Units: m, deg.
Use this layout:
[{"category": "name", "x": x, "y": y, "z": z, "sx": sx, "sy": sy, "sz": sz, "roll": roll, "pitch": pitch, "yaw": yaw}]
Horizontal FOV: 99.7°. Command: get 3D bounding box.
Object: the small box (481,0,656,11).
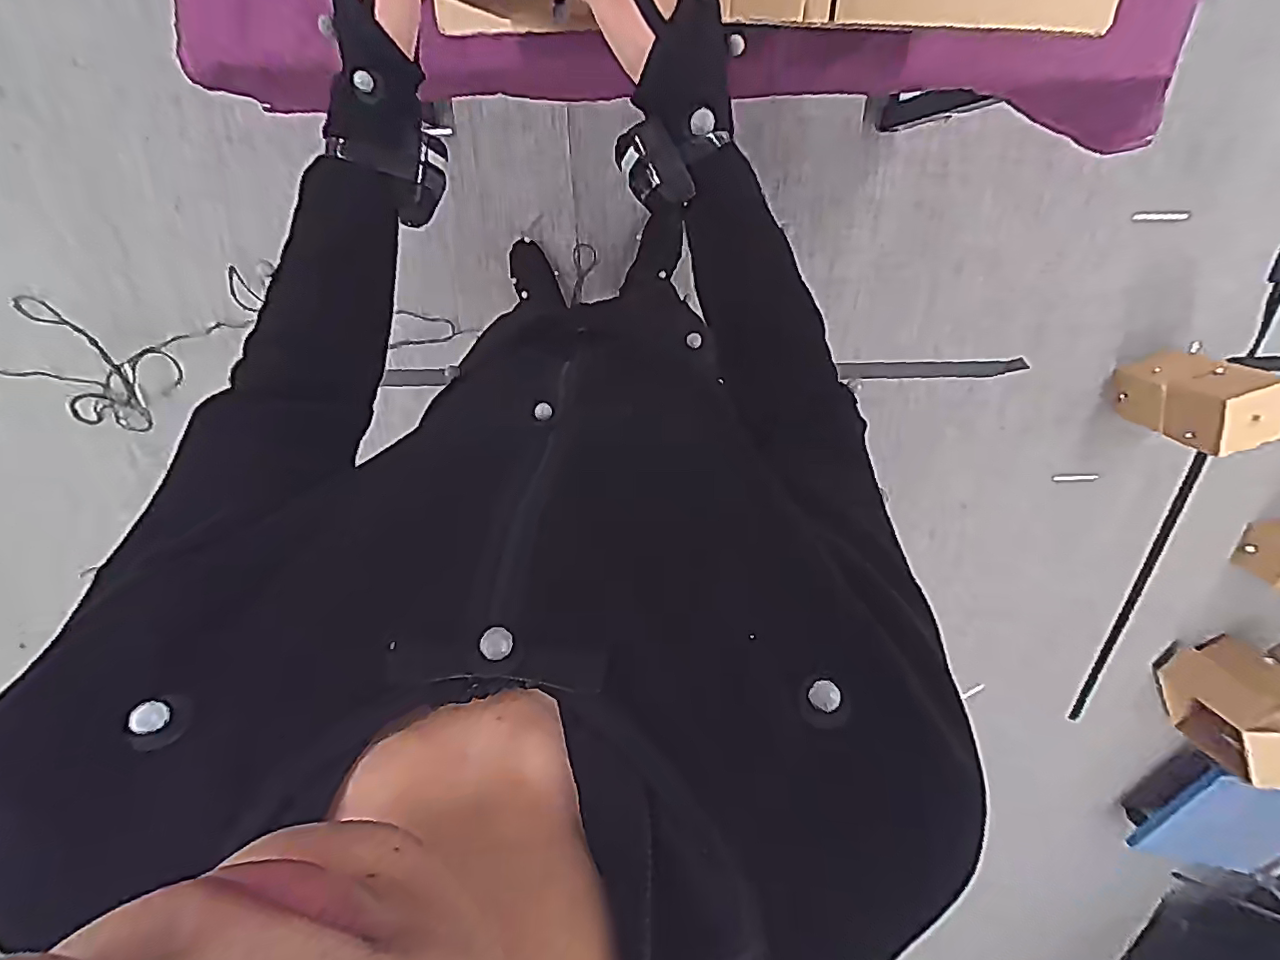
[{"category": "small box", "x": -0.072, "y": -0.492, "z": 0.423, "sx": 0.168, "sy": 0.176, "sz": 0.179, "roll": 4, "pitch": 124, "yaw": 9}]
